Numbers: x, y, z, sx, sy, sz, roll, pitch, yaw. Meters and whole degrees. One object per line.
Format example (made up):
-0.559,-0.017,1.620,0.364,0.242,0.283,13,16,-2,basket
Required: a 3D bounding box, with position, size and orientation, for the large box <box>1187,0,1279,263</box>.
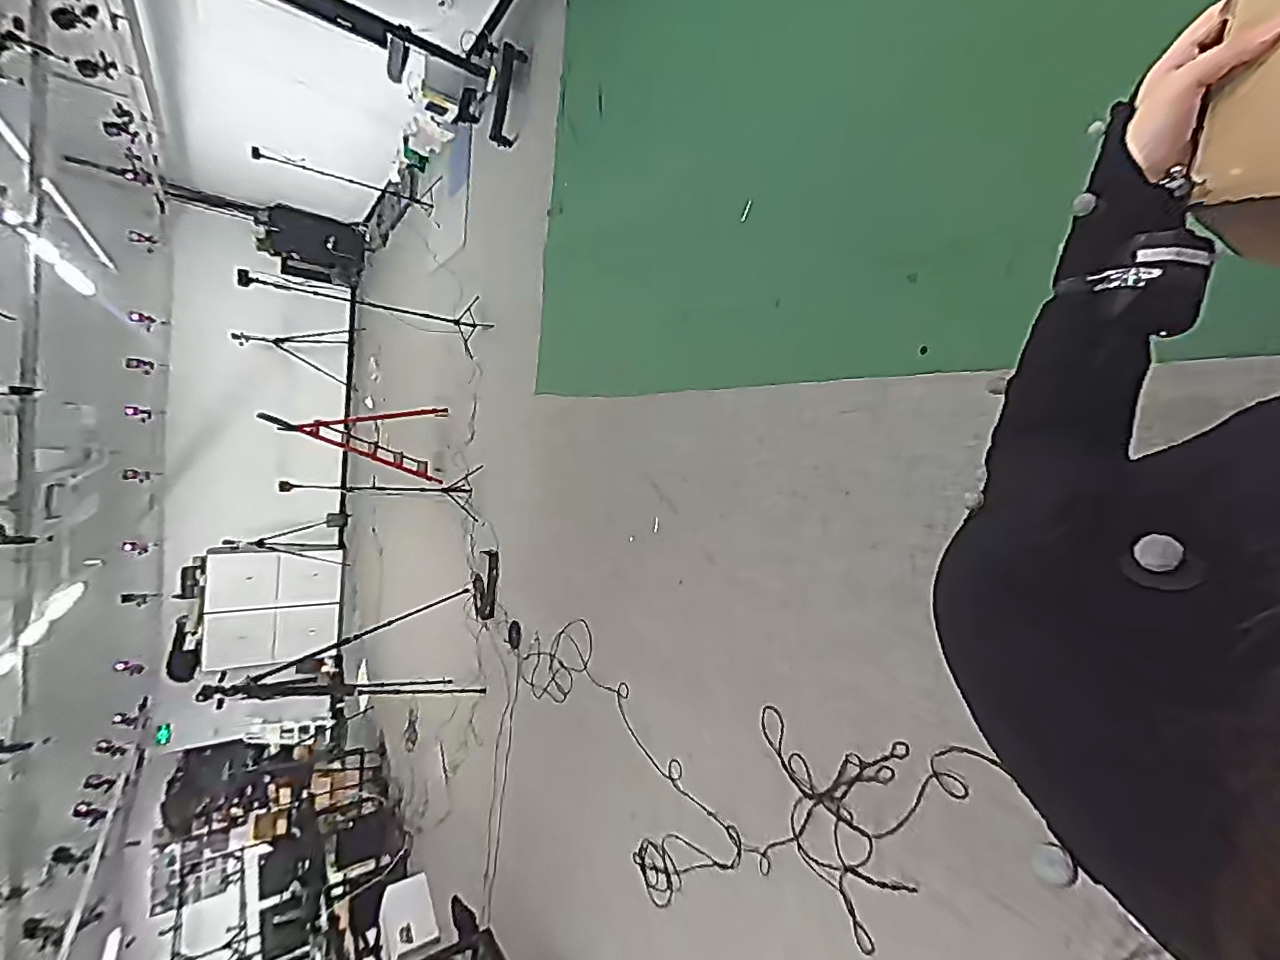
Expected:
0.652,-0.322,0.296,0.408,0.320,0.320,21,110,54,large box
